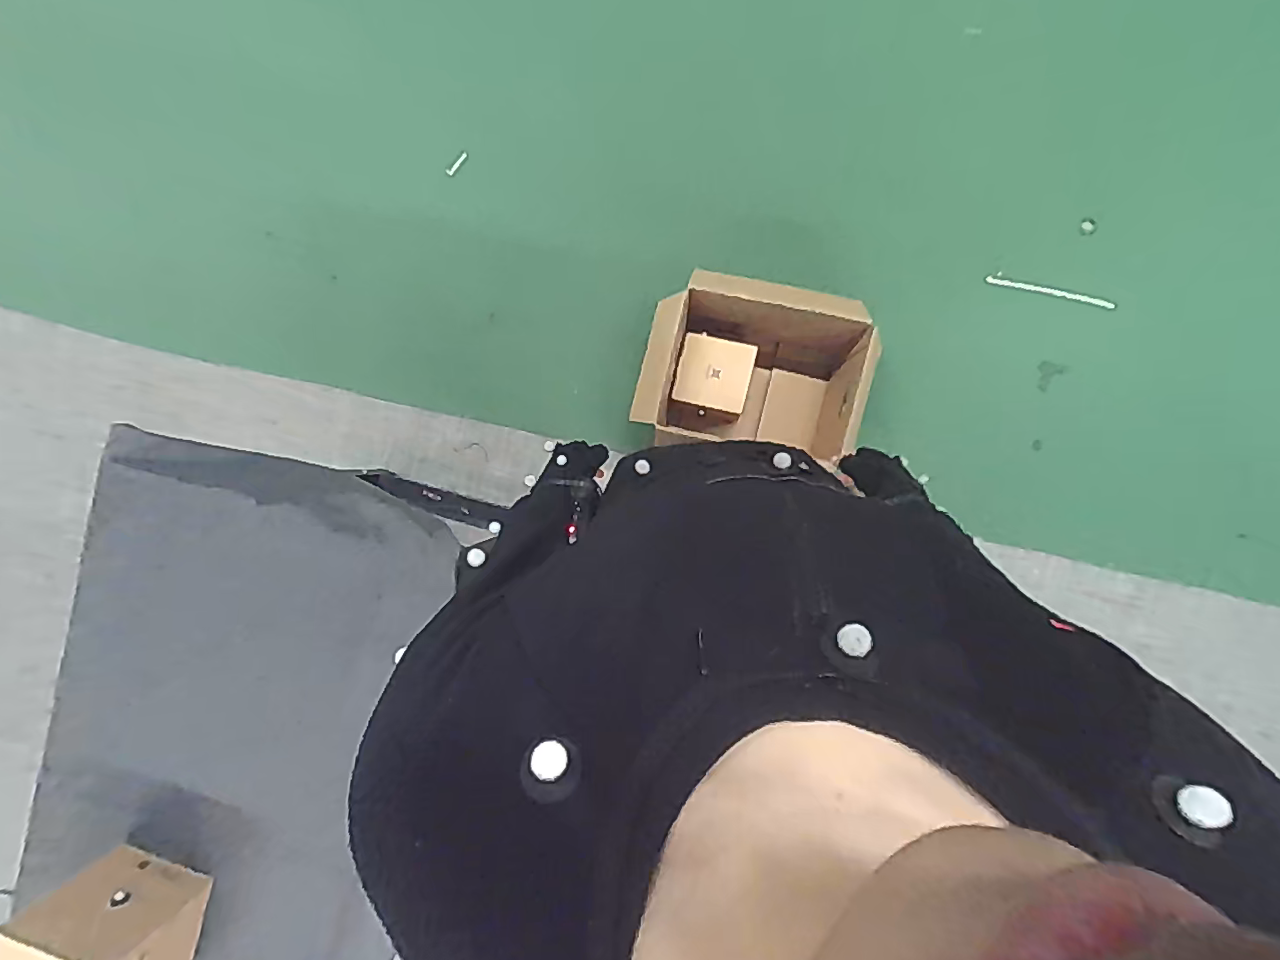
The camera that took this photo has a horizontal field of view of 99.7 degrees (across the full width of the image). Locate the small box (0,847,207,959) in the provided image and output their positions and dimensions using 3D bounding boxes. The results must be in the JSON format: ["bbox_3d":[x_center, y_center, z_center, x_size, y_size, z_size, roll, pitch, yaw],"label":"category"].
[{"bbox_3d":[-0.777,0.681,0.776,0.168,0.176,0.179,17,93,6],"label":"small box"}]
